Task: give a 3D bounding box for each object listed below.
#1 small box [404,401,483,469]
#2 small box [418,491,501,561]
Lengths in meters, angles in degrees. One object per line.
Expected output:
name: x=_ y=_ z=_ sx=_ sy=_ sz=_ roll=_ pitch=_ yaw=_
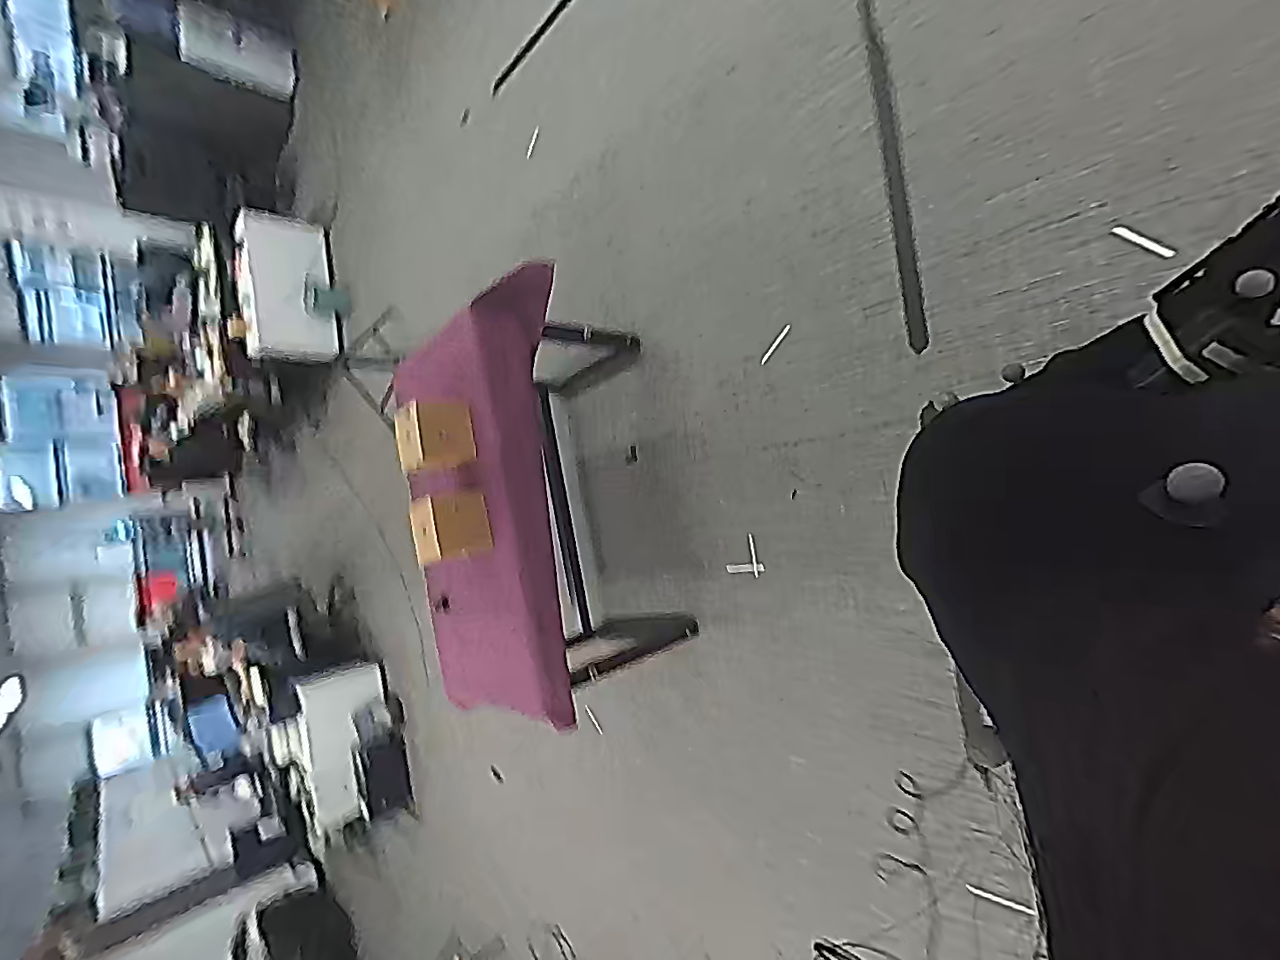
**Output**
small box: x=-0.596 y=-0.139 z=1.650 sx=0.168 sy=0.176 sz=0.179 roll=-14 pitch=85 yaw=45
small box: x=-0.541 y=0.134 z=1.625 sx=0.168 sy=0.176 sz=0.179 roll=-22 pitch=80 yaw=46
